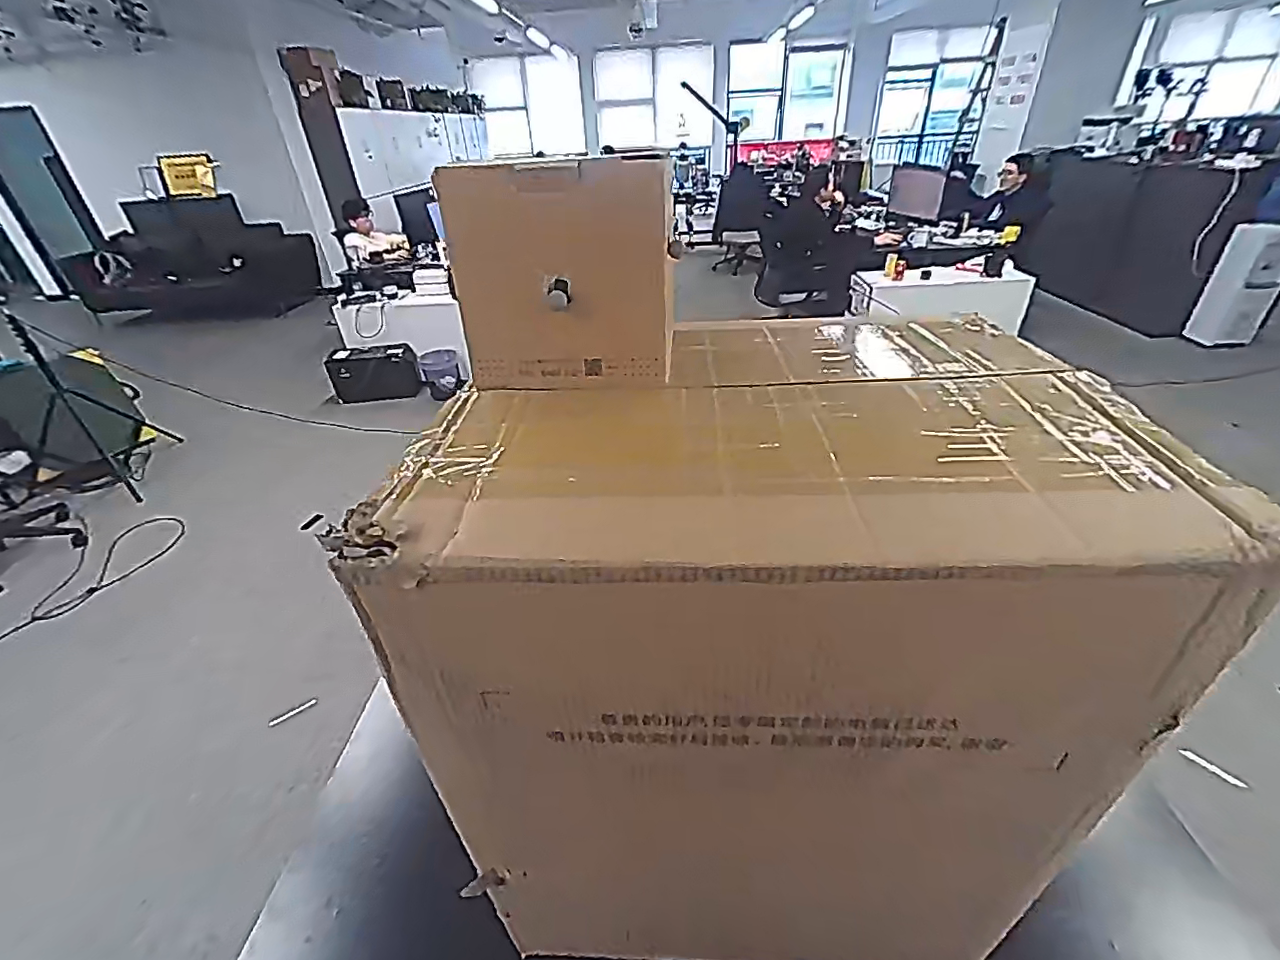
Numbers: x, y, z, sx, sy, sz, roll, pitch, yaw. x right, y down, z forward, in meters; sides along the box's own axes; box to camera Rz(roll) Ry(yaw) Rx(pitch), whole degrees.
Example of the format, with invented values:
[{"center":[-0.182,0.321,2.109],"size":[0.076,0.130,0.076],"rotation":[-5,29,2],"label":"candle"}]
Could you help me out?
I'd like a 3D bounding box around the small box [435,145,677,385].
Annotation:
[{"center":[-0.052,-0.191,0.478],"size":[0.168,0.176,0.179],"rotation":[1,32,4],"label":"small box"}]
